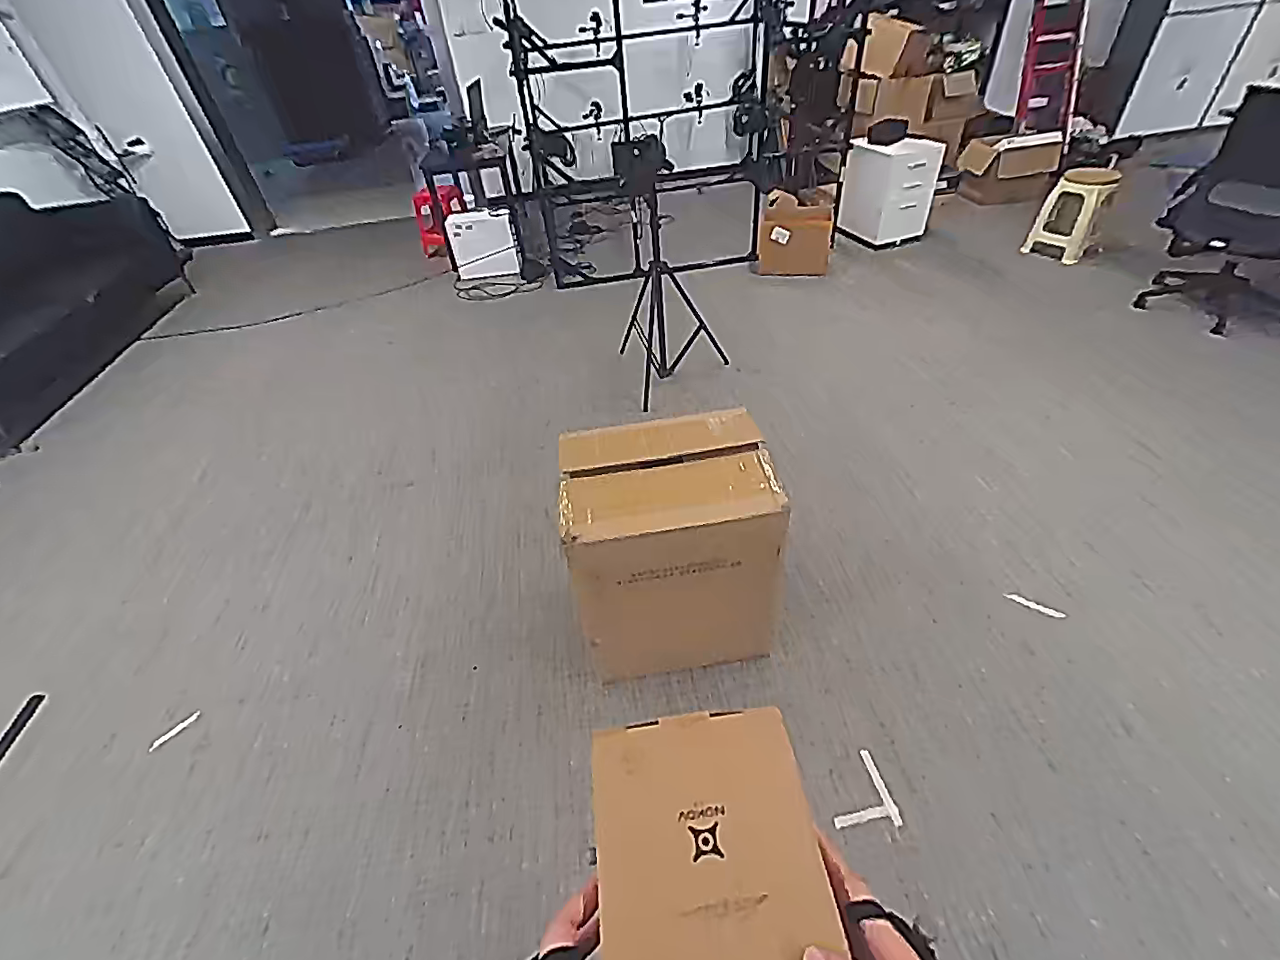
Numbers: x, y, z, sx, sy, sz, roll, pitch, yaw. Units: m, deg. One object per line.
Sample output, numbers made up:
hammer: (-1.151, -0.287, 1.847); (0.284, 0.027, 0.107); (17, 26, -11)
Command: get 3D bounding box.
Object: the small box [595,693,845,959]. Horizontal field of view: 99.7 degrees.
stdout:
small box: (0.054, 0.315, 0.475); (0.168, 0.176, 0.179); (-8, 46, -2)
